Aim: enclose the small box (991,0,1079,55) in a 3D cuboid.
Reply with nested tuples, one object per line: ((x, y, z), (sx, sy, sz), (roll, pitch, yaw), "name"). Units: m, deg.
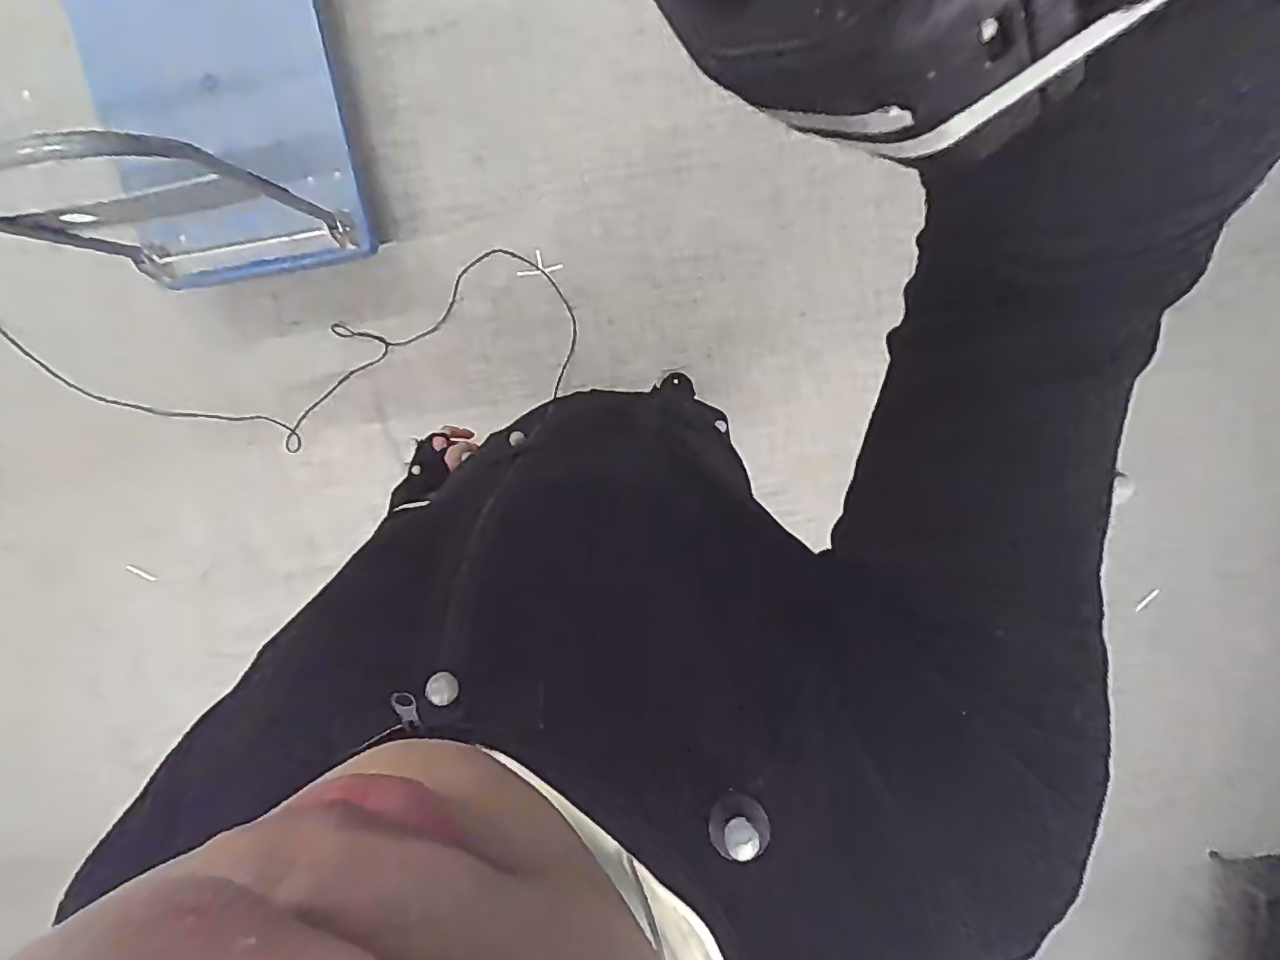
((1.016, -1.203, 1.352), (0.179, 0.176, 0.168), (-4, 100, -1), "small box")

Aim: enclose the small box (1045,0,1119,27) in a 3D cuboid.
((1.037, -1.180, 1.199), (0.168, 0.176, 0.179), (28, 98, -4), "small box")
